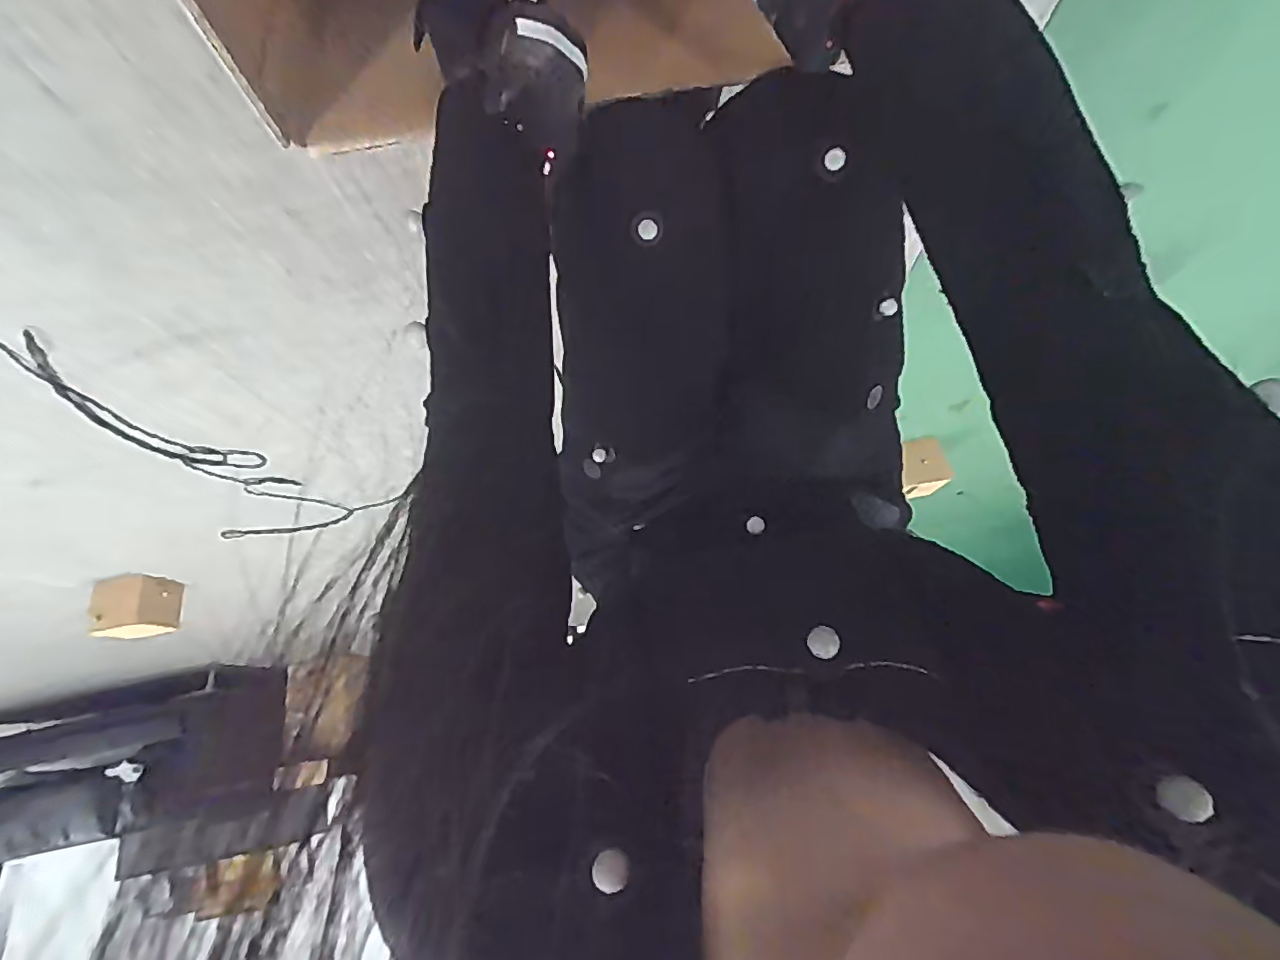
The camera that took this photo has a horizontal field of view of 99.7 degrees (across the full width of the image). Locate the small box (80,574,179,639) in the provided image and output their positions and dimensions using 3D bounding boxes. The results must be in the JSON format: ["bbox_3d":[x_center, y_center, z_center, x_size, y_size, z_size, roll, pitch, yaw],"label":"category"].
[{"bbox_3d":[-1.714,0.429,1.828,0.179,0.176,0.168,-12,158,1],"label":"small box"}]
